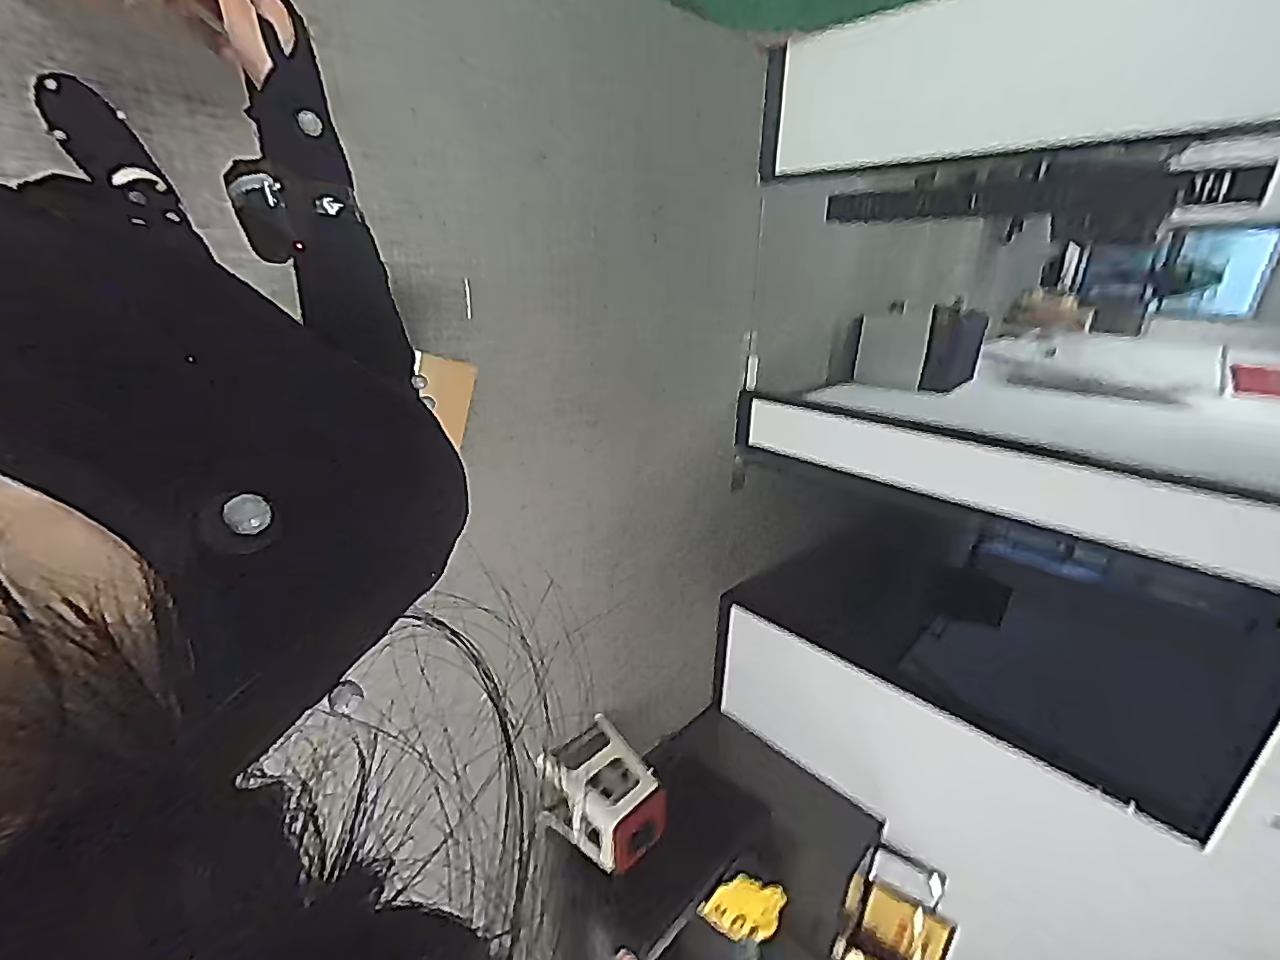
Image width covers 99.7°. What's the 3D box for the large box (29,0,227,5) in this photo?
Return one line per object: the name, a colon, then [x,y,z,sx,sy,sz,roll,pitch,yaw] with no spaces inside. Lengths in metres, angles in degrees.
large box: [-0.846,-0.990,0.782,0.320,0.320,0.408,-33,127,-35]
